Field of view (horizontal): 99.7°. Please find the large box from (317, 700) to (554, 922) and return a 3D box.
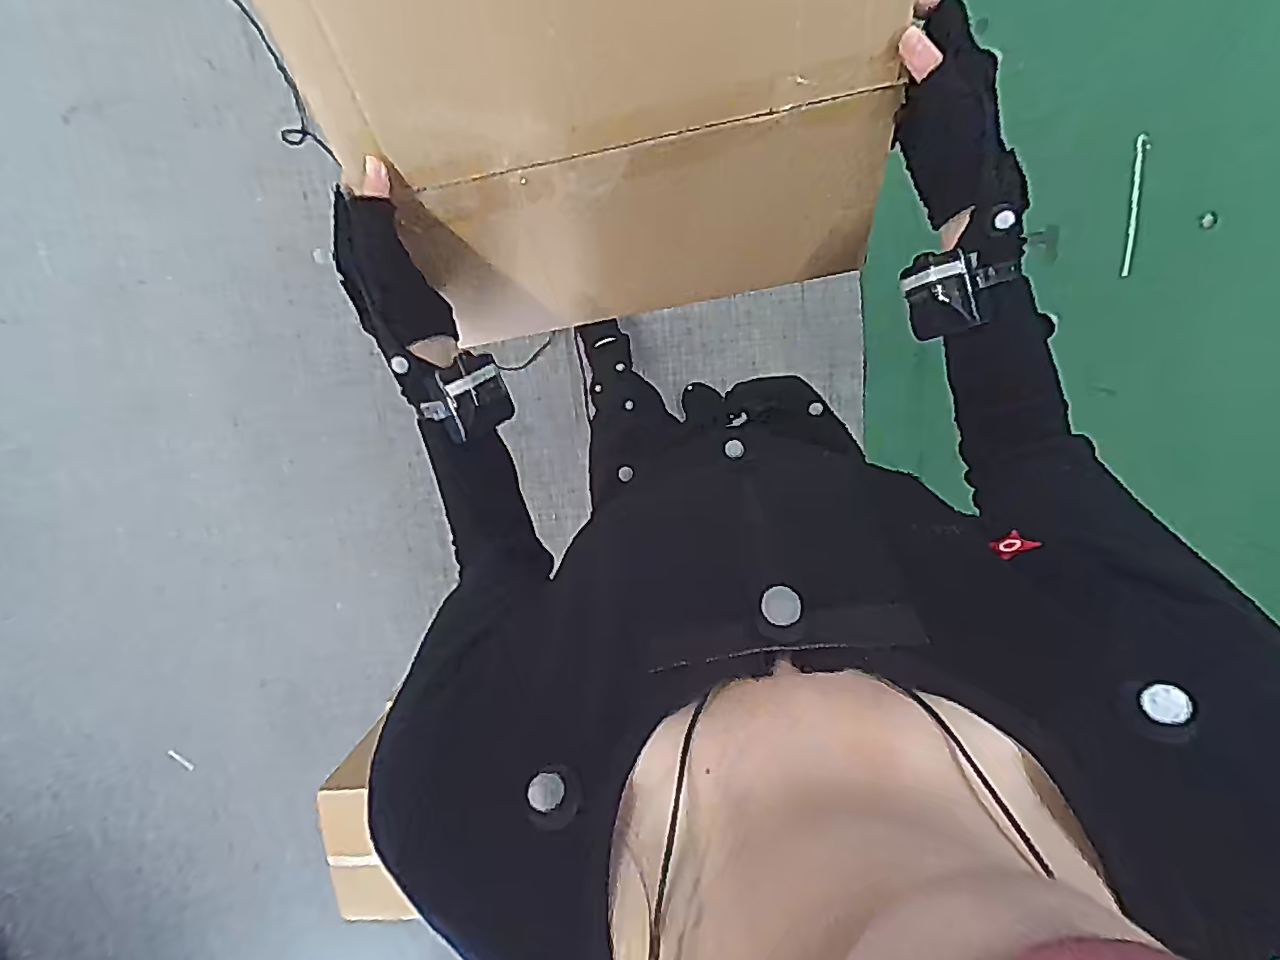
[{"bbox_3d":[-0.439,0.737,1.247,0.408,0.320,0.320,-4,99,3],"label":"large box"}]
